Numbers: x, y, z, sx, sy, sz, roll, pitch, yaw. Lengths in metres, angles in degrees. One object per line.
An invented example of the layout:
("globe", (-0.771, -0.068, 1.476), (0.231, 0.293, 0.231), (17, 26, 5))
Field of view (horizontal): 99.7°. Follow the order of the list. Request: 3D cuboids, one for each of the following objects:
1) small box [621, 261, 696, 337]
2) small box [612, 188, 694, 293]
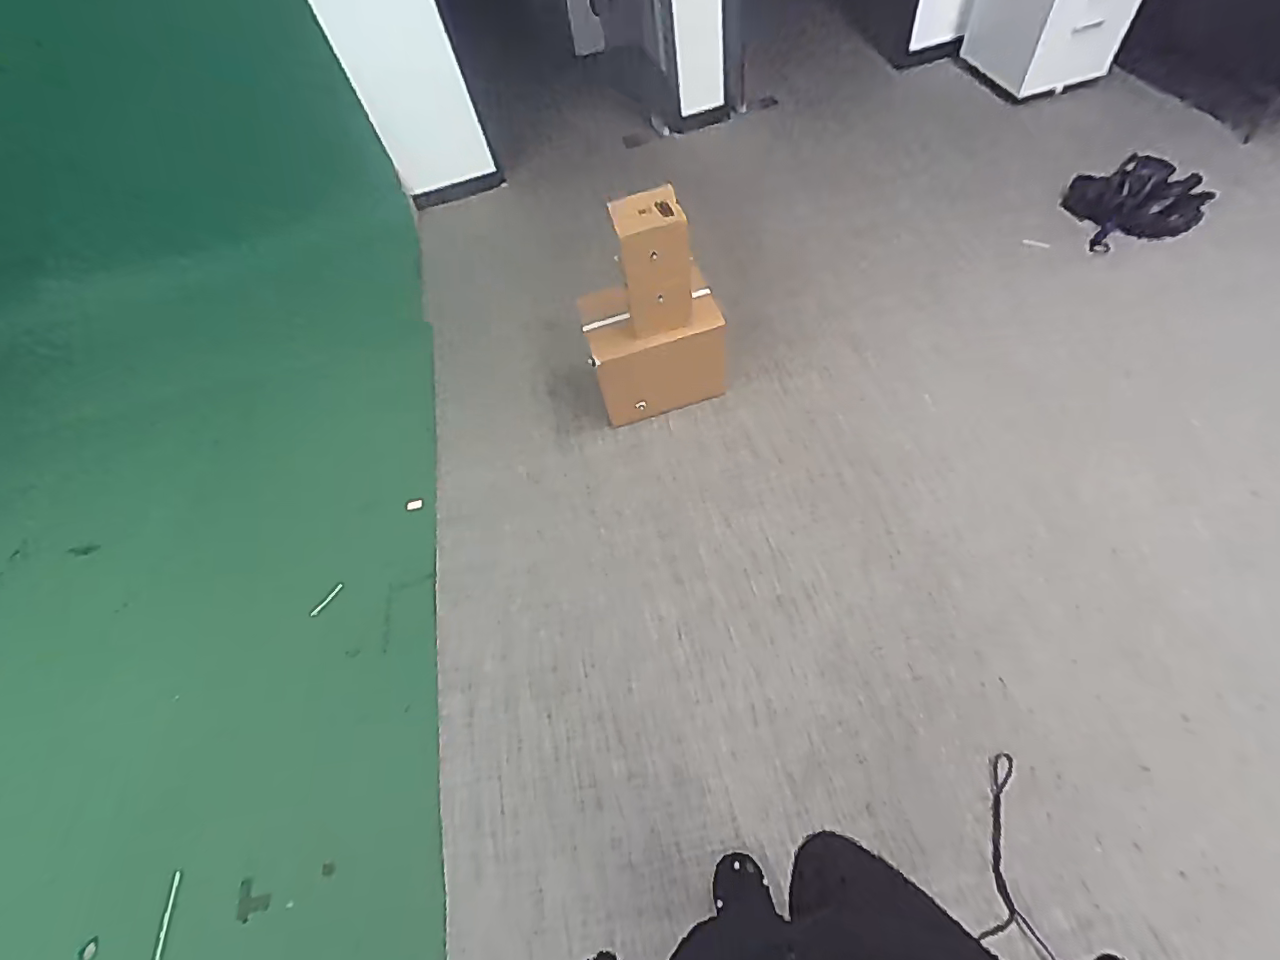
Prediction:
("small box", (0.057, -0.539, 1.563), (0.179, 0.176, 0.168), (-15, 58, -1))
("small box", (0.039, -0.628, 1.426), (0.179, 0.176, 0.168), (-17, 58, -1))
